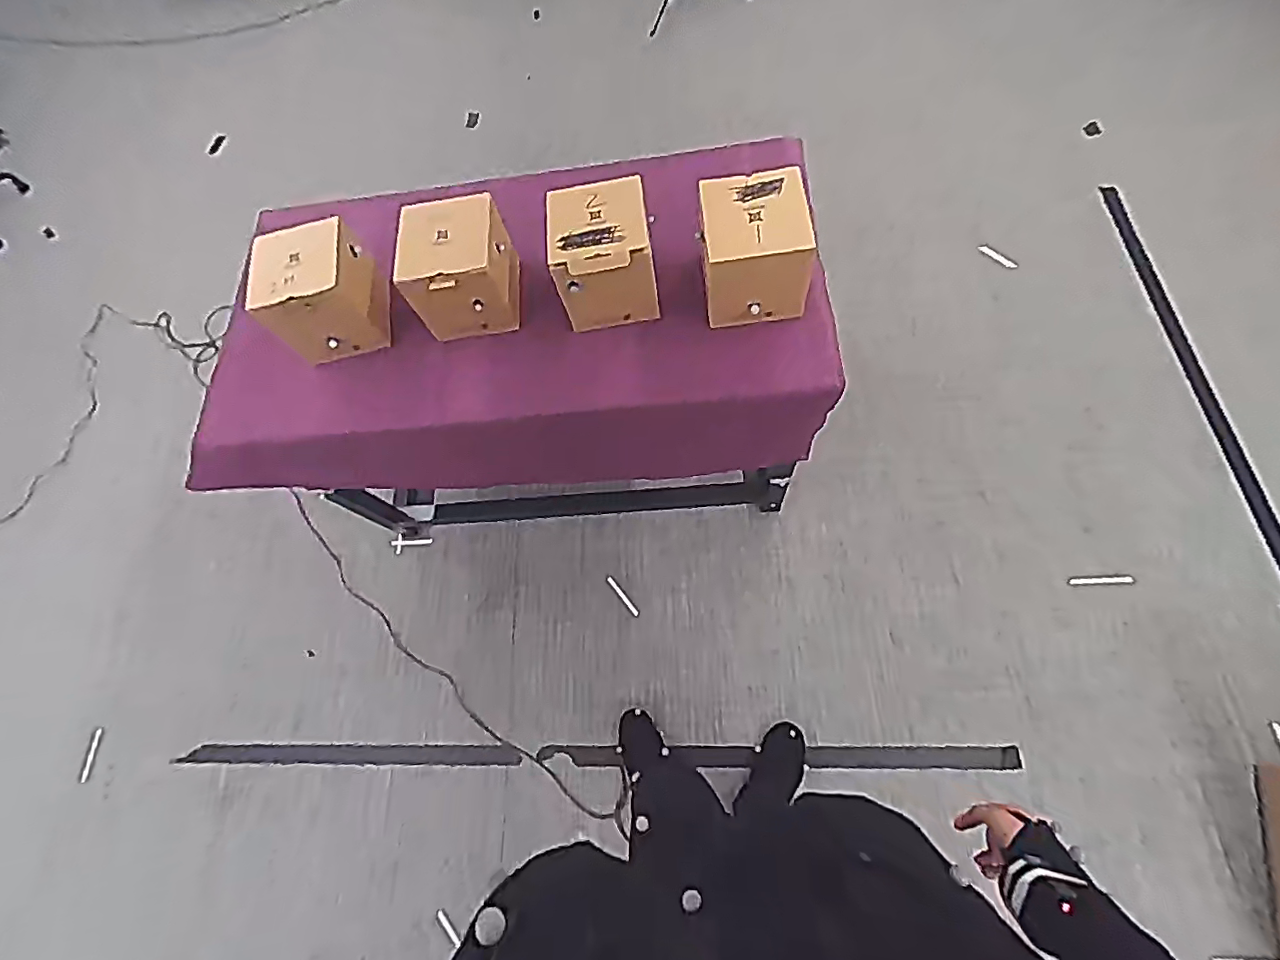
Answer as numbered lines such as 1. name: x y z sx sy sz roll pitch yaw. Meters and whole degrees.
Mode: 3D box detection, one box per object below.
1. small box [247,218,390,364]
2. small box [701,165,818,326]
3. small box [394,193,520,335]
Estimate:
1. small box: -0.593 -0.349 1.020 0.168 0.176 0.179 -13 68 3
2. small box: 0.194 -0.392 0.923 0.168 0.176 0.179 -6 69 6
3. small box: -0.326 -0.386 0.998 0.168 0.176 0.179 -6 68 5
